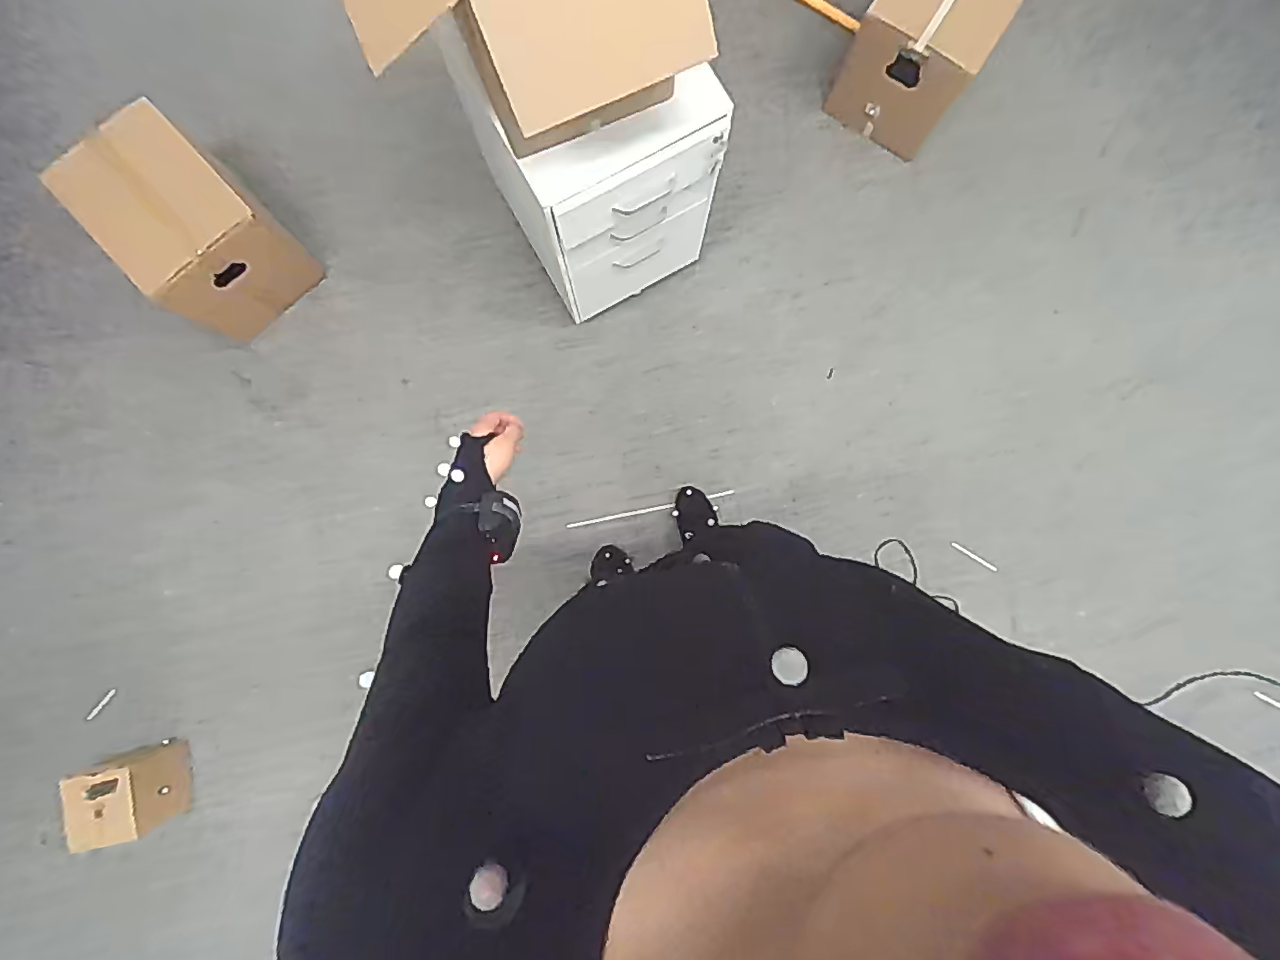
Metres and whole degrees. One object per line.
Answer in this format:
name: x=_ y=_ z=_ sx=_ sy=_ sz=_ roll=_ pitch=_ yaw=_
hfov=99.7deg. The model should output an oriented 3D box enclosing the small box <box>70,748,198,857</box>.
small box: x=-1.261 y=0.796 z=1.357 sx=0.168 sy=0.176 sz=0.179 roll=-11 pitch=85 yaw=-1
